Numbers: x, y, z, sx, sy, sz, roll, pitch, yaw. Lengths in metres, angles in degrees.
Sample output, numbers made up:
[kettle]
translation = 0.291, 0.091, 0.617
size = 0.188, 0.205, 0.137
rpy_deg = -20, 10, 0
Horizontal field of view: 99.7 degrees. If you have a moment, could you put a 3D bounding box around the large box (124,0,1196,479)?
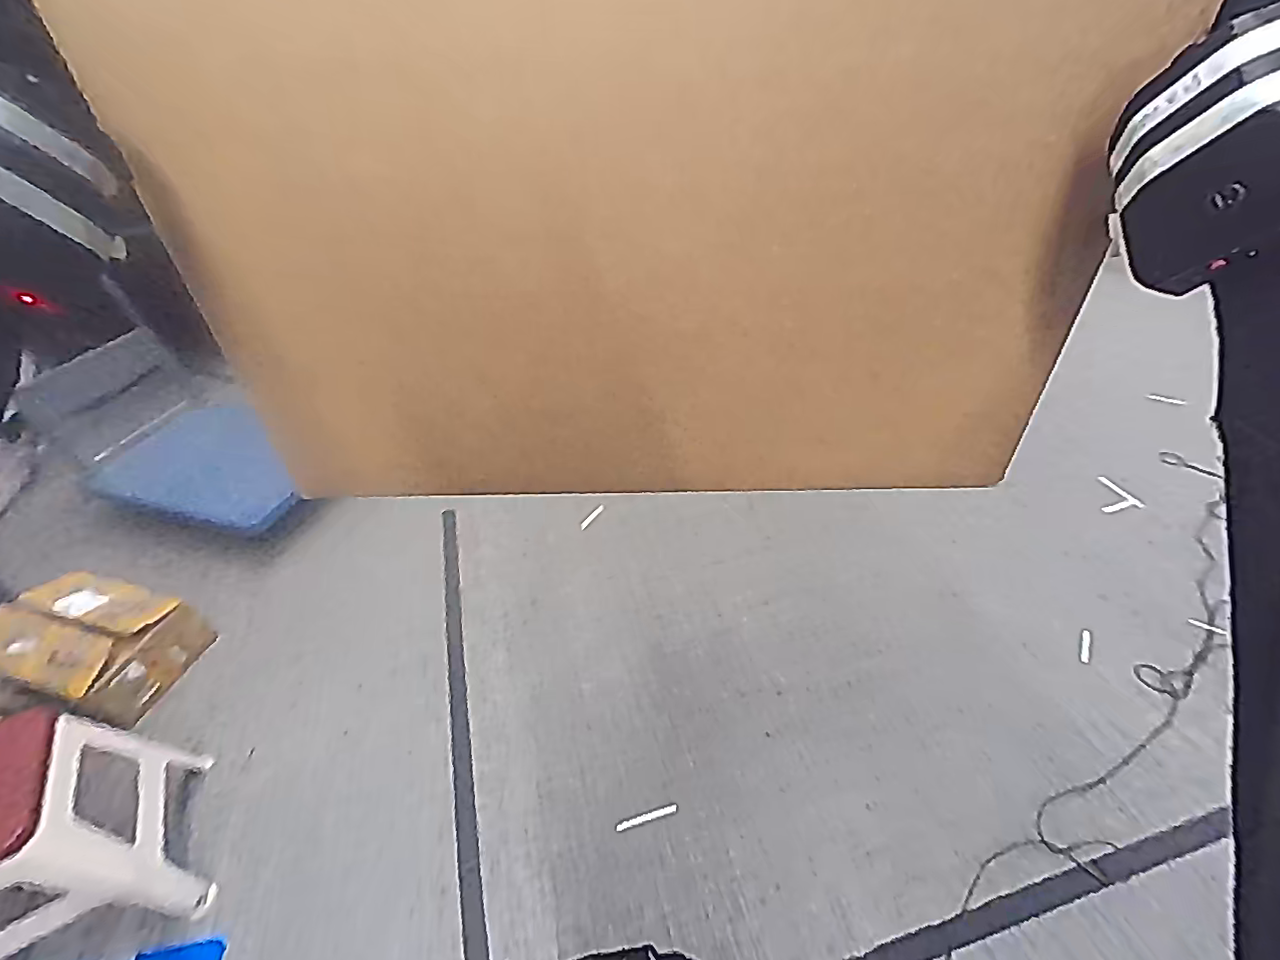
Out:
[large box]
translation = 0.008, -0.210, 0.353
size = 0.408, 0.320, 0.320
rpy_deg = 0, 37, 2
